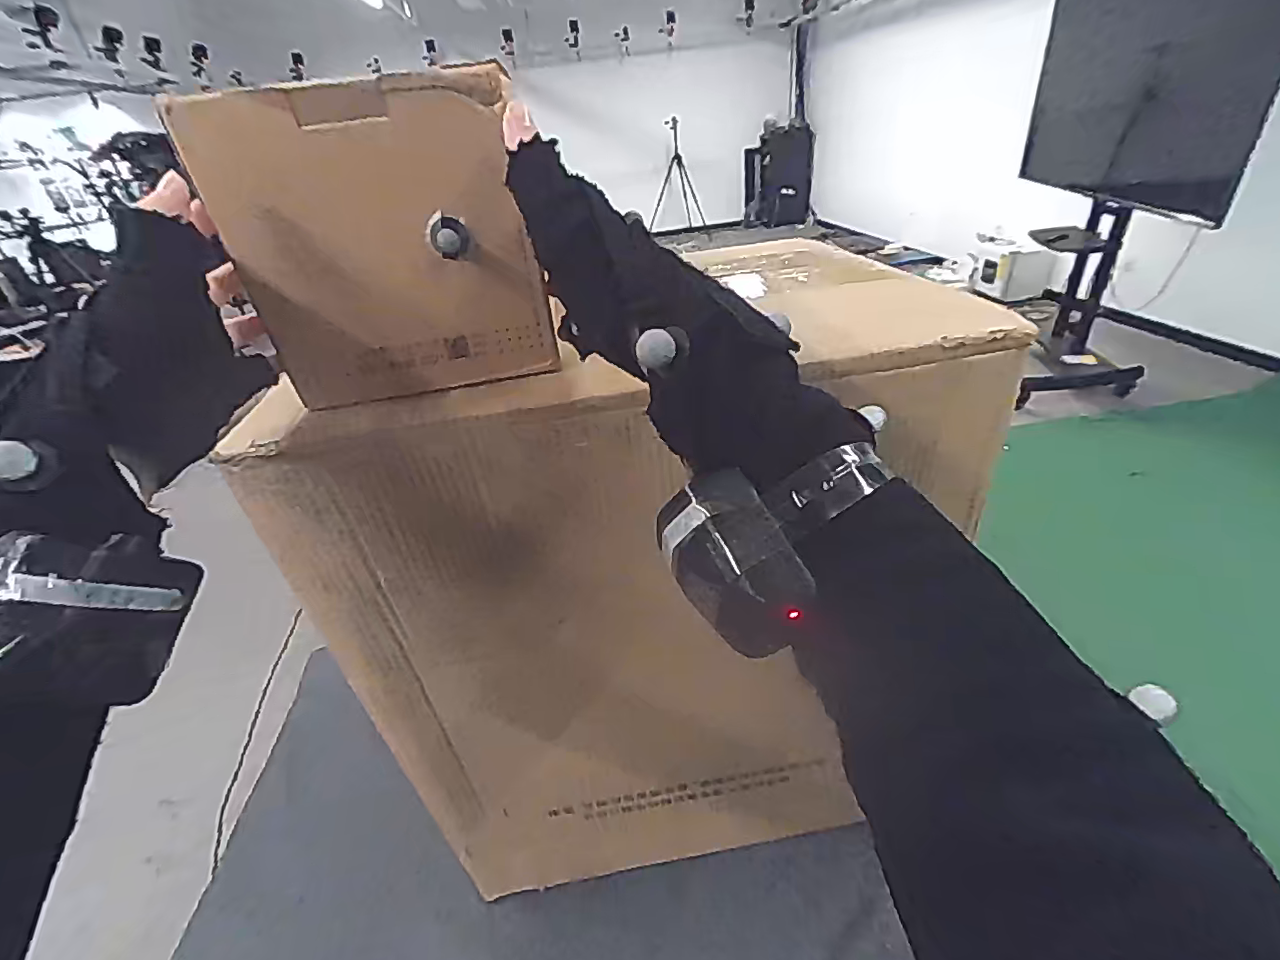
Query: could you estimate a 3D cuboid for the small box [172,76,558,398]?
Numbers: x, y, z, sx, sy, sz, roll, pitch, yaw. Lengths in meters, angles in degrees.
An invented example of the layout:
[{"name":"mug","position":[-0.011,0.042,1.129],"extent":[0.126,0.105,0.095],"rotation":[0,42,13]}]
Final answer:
[{"name":"small box","position":[-0.153,-0.164,0.379],"extent":[0.168,0.176,0.179],"rotation":[-9,33,-6]}]
